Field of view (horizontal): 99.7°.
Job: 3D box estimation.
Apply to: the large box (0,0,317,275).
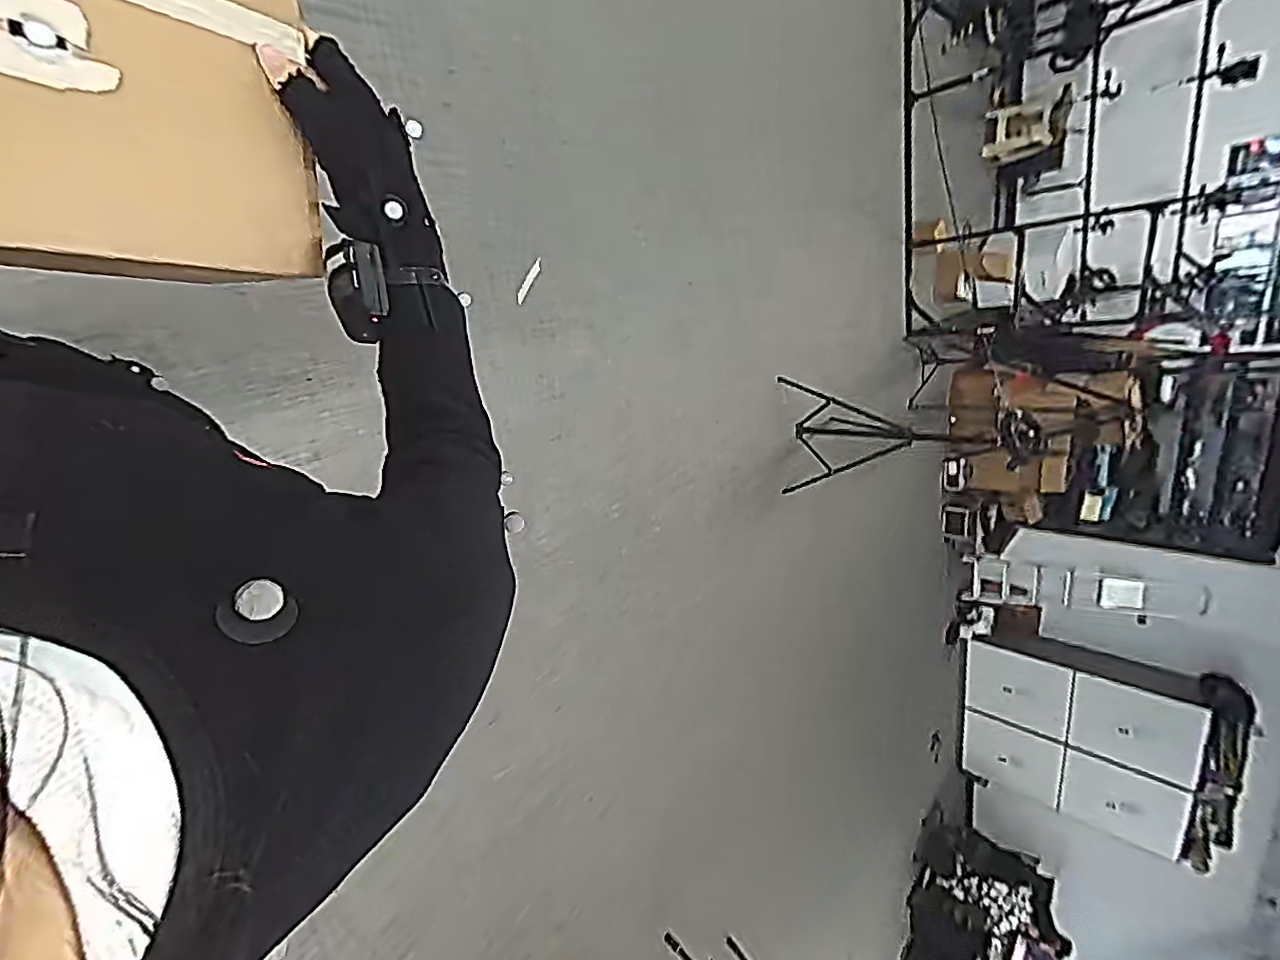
[{"bbox_3d":[-0.500,-0.314,0.347,0.408,0.320,0.320,-15,115,-47],"label":"large box"}]
